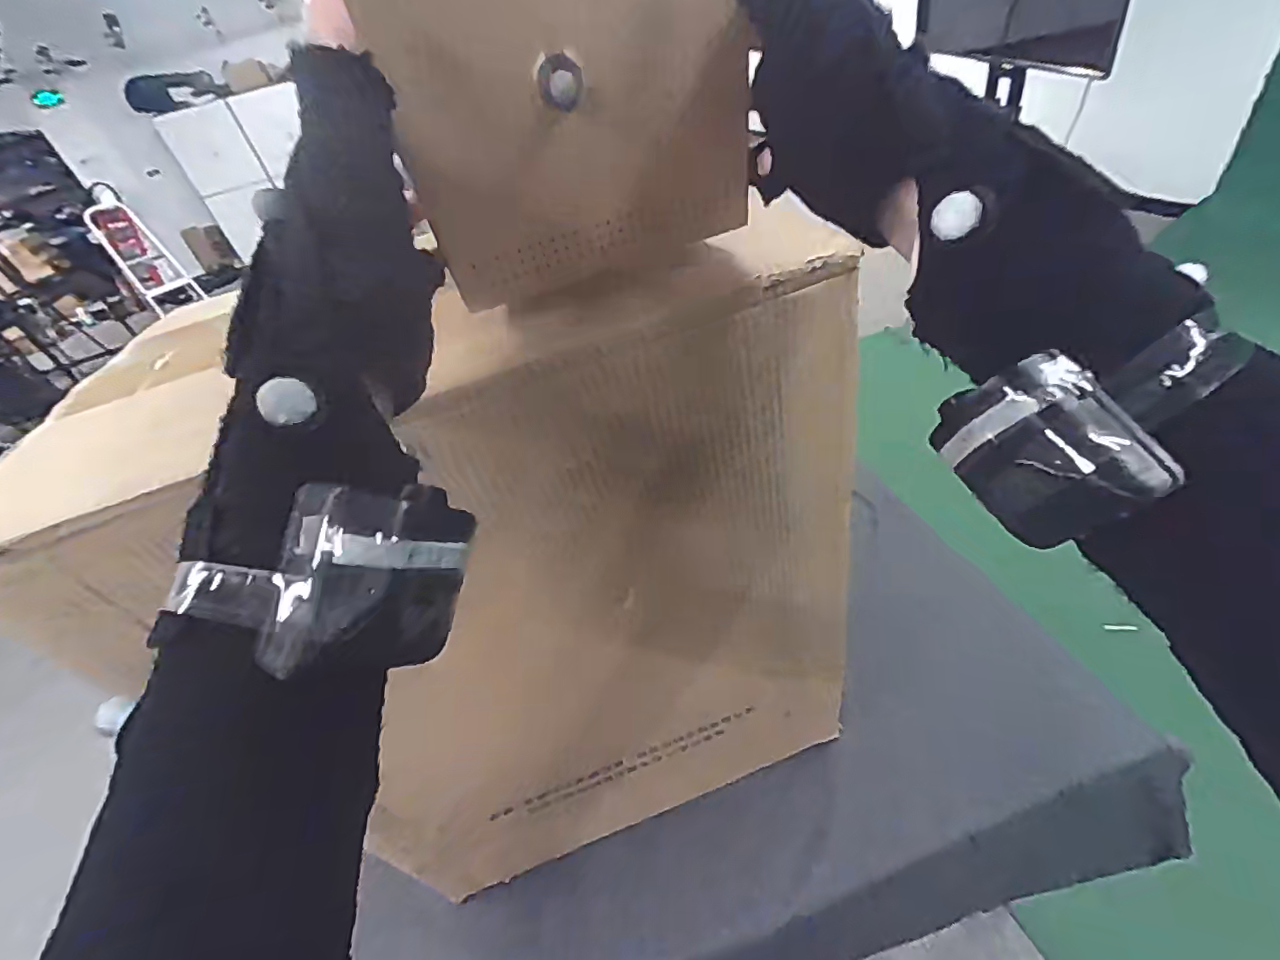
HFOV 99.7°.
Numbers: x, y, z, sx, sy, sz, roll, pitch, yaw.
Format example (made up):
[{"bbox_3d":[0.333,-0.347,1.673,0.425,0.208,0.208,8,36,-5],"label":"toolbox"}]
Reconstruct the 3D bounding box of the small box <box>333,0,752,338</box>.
[{"bbox_3d":[-0.048,-0.214,0.318,0.179,0.176,0.168,-20,49,-6],"label":"small box"}]
